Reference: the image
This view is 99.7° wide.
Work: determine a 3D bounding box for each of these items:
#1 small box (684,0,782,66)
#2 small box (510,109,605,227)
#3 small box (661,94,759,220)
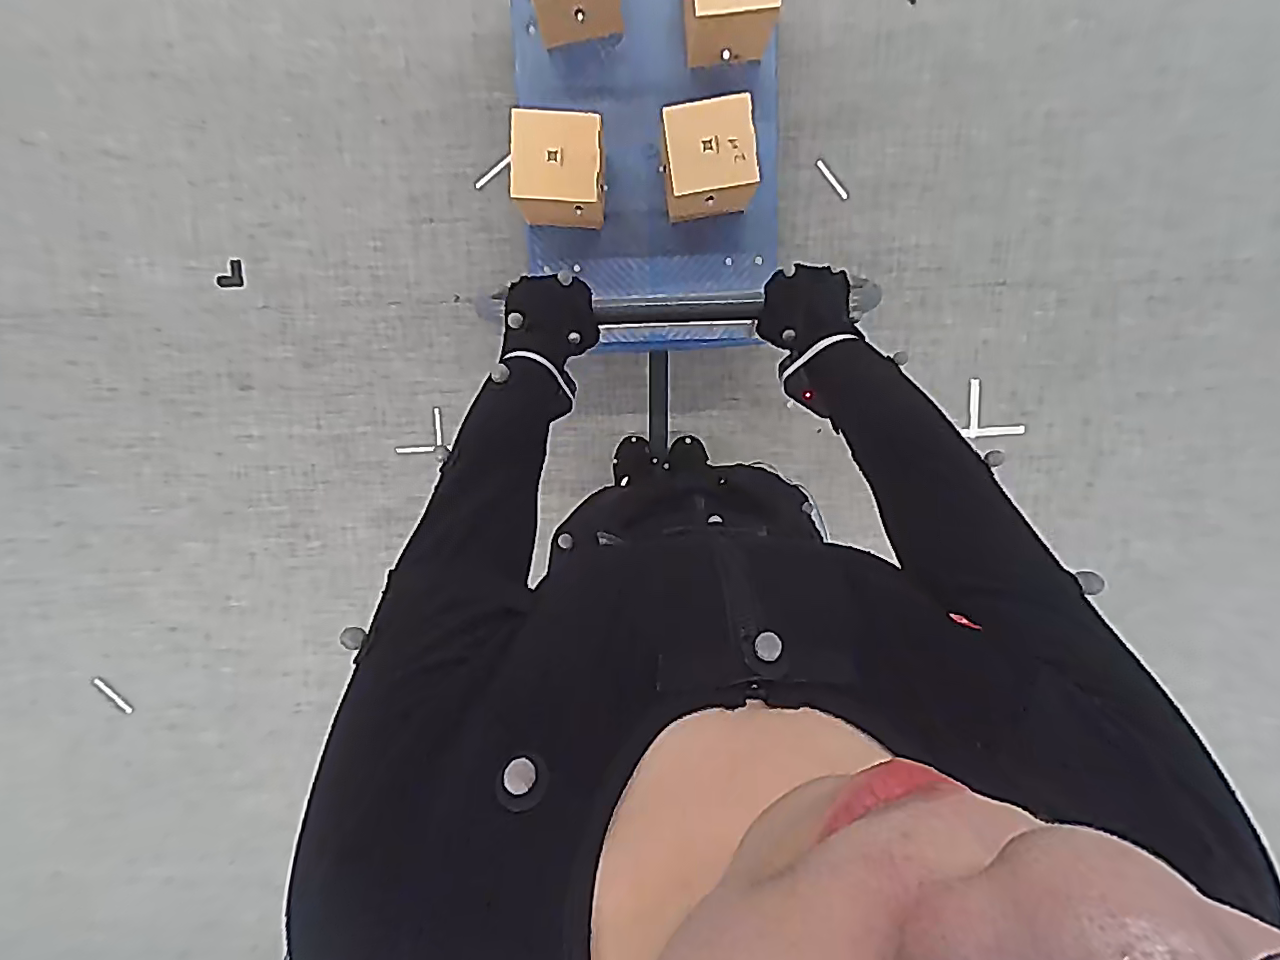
[{"bbox_3d":[0.178,-0.980,1.084,0.168,0.176,0.179,-6,100,1],"label":"small box"},{"bbox_3d":[-0.167,-0.647,1.140,0.179,0.176,0.168,2,99,-2],"label":"small box"},{"bbox_3d":[0.141,-0.665,1.135,0.179,0.176,0.168,-9,99,2],"label":"small box"}]
